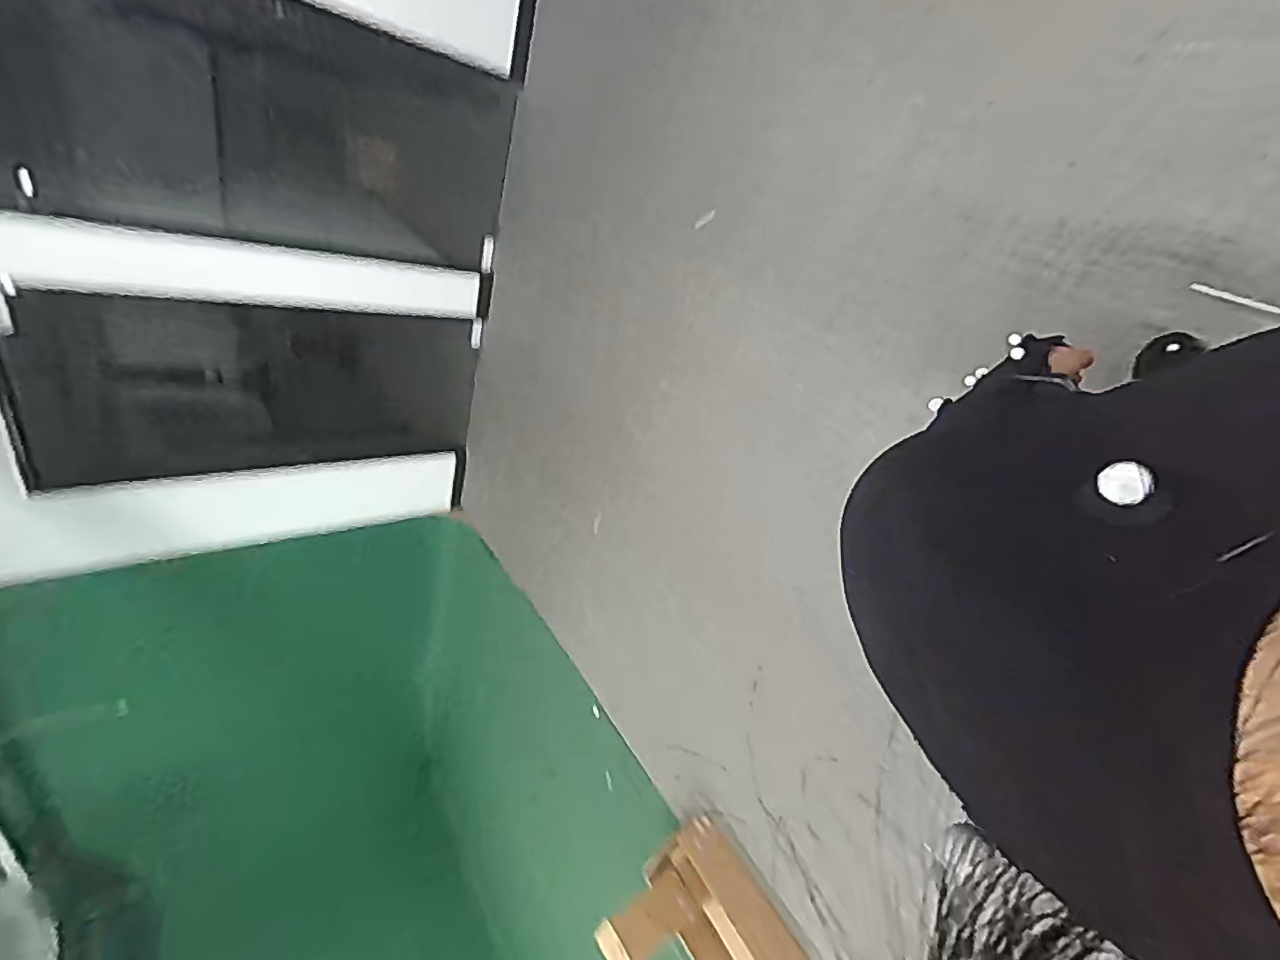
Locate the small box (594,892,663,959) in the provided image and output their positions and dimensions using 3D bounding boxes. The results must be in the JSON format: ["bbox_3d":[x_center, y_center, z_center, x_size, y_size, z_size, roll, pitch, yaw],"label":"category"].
[{"bbox_3d":[-0.039,1.678,1.992,0.168,0.176,0.179,44,128,35],"label":"small box"}]

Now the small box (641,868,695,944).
[{"bbox_3d":[0.084,1.662,2.099,0.168,0.176,0.179,47,127,33],"label":"small box"}]
